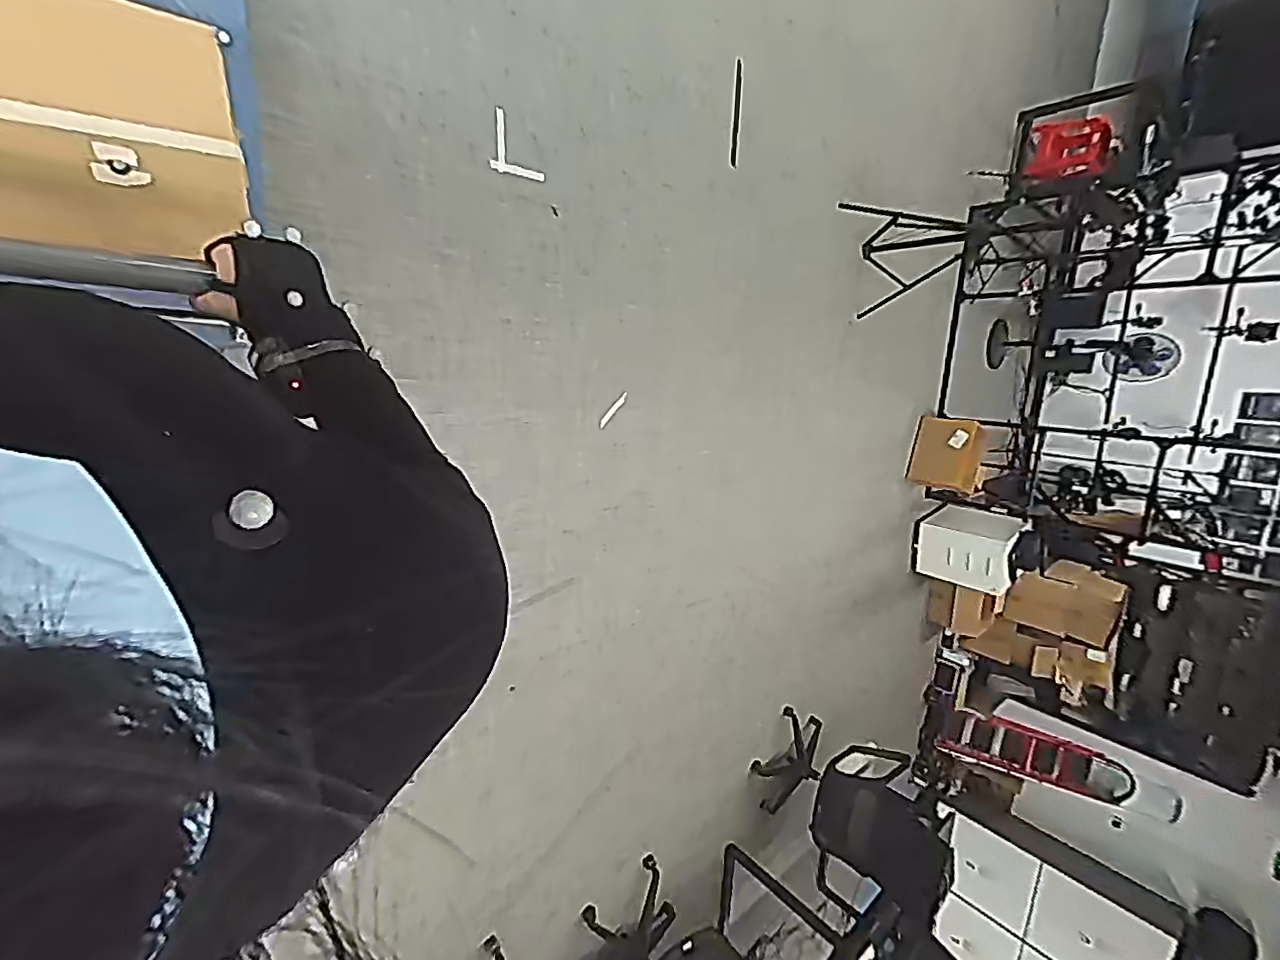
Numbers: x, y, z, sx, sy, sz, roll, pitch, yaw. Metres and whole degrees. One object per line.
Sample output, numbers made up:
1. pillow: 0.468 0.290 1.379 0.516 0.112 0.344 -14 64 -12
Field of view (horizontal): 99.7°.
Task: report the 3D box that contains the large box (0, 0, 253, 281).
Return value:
1. large box: -0.845 -0.470 0.772 0.408 0.320 0.320 -13 109 -41
